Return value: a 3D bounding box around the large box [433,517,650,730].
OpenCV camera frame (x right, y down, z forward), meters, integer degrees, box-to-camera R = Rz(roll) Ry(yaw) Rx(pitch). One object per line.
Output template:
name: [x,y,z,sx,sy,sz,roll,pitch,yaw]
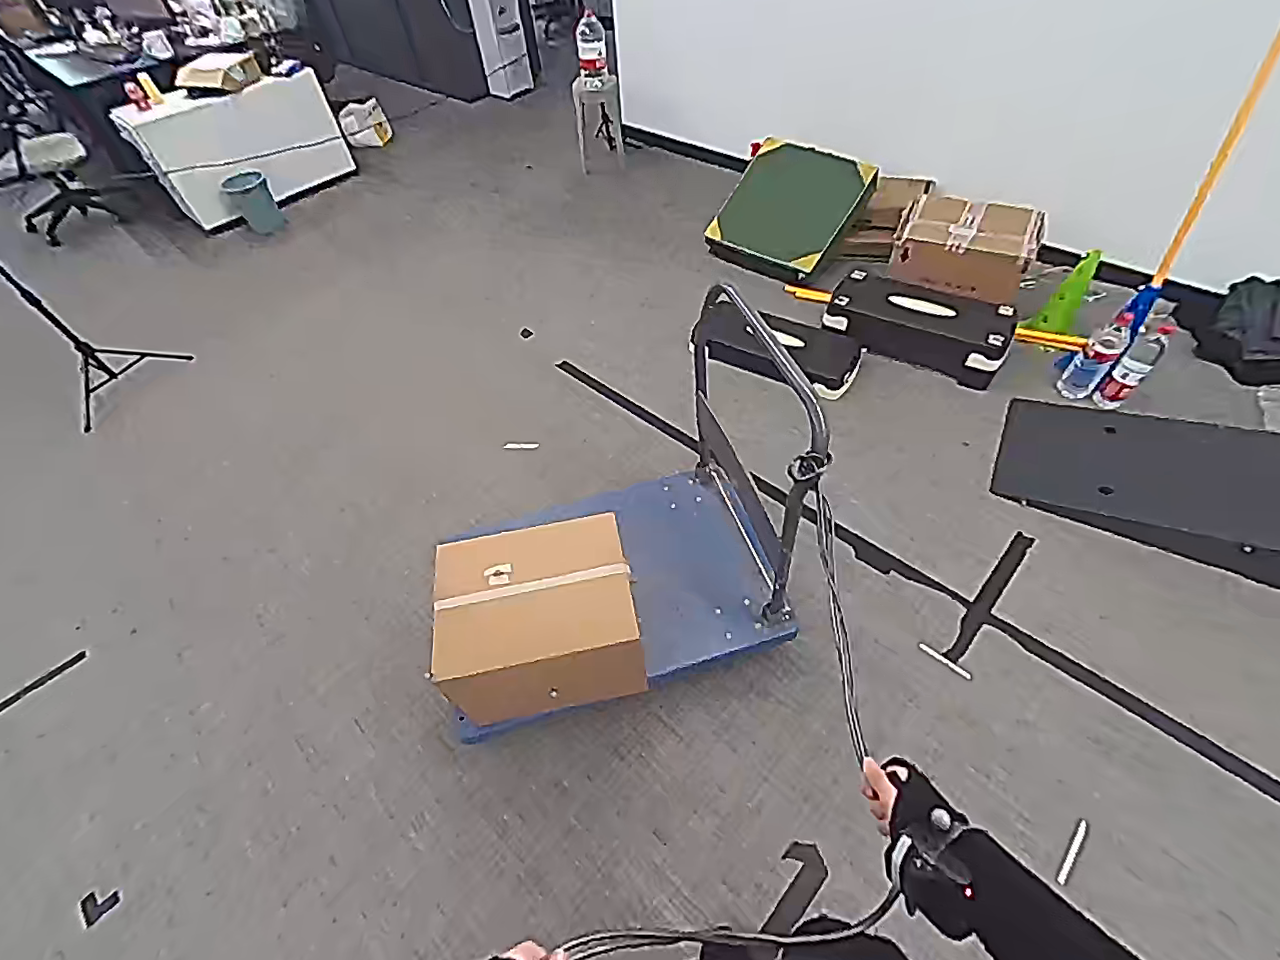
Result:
large box: [-0.210,0.330,1.229,0.408,0.320,0.320,-12,50,-4]
